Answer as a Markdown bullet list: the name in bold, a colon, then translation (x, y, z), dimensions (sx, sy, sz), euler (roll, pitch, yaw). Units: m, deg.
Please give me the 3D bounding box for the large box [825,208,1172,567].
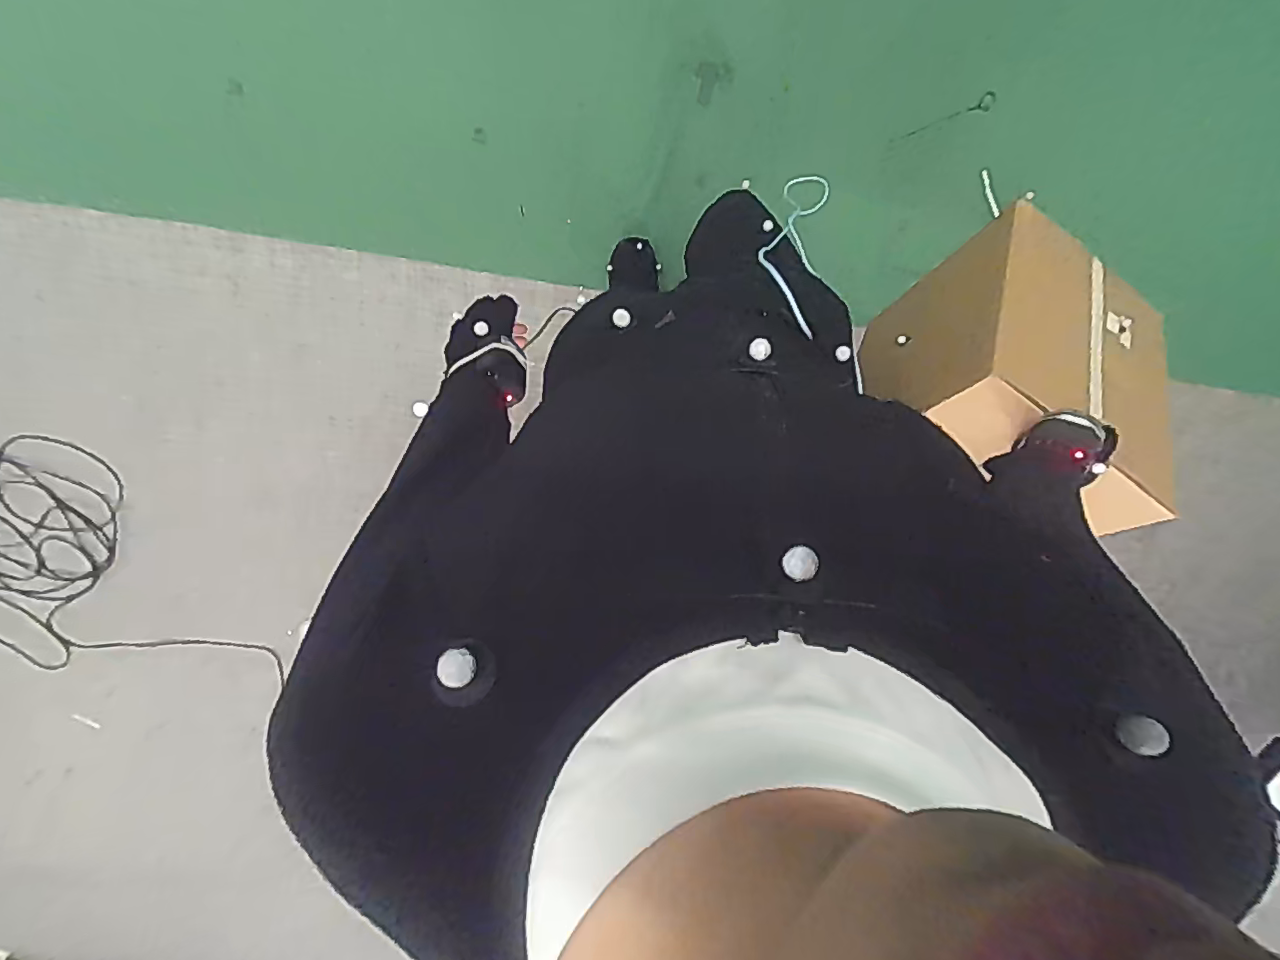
- **large box**: translation (0.553, -0.131, 0.872), dimensions (0.320, 0.408, 0.320), euler (34, 149, -8)
